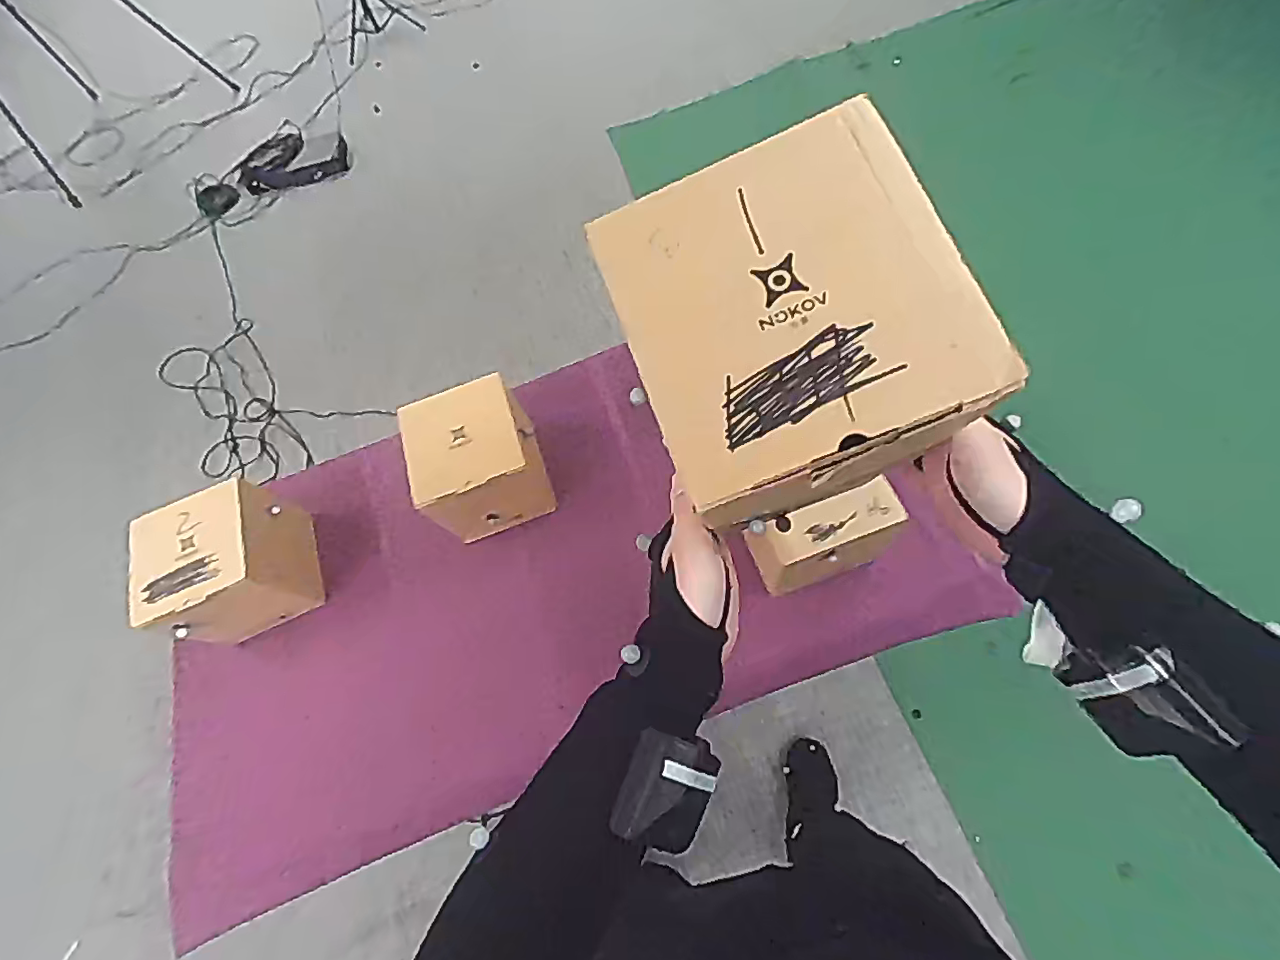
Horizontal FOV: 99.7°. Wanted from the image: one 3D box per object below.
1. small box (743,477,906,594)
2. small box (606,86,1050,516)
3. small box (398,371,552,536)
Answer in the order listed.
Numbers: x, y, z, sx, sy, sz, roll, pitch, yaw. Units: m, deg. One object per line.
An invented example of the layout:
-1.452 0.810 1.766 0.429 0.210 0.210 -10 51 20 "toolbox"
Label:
0.228 0.036 0.752 0.168 0.176 0.179 -20 63 0 "small box"
0.098 -0.083 0.346 0.168 0.176 0.179 -21 77 7 "small box"
-0.253 -0.035 0.852 0.168 0.176 0.179 -20 67 -2 "small box"
